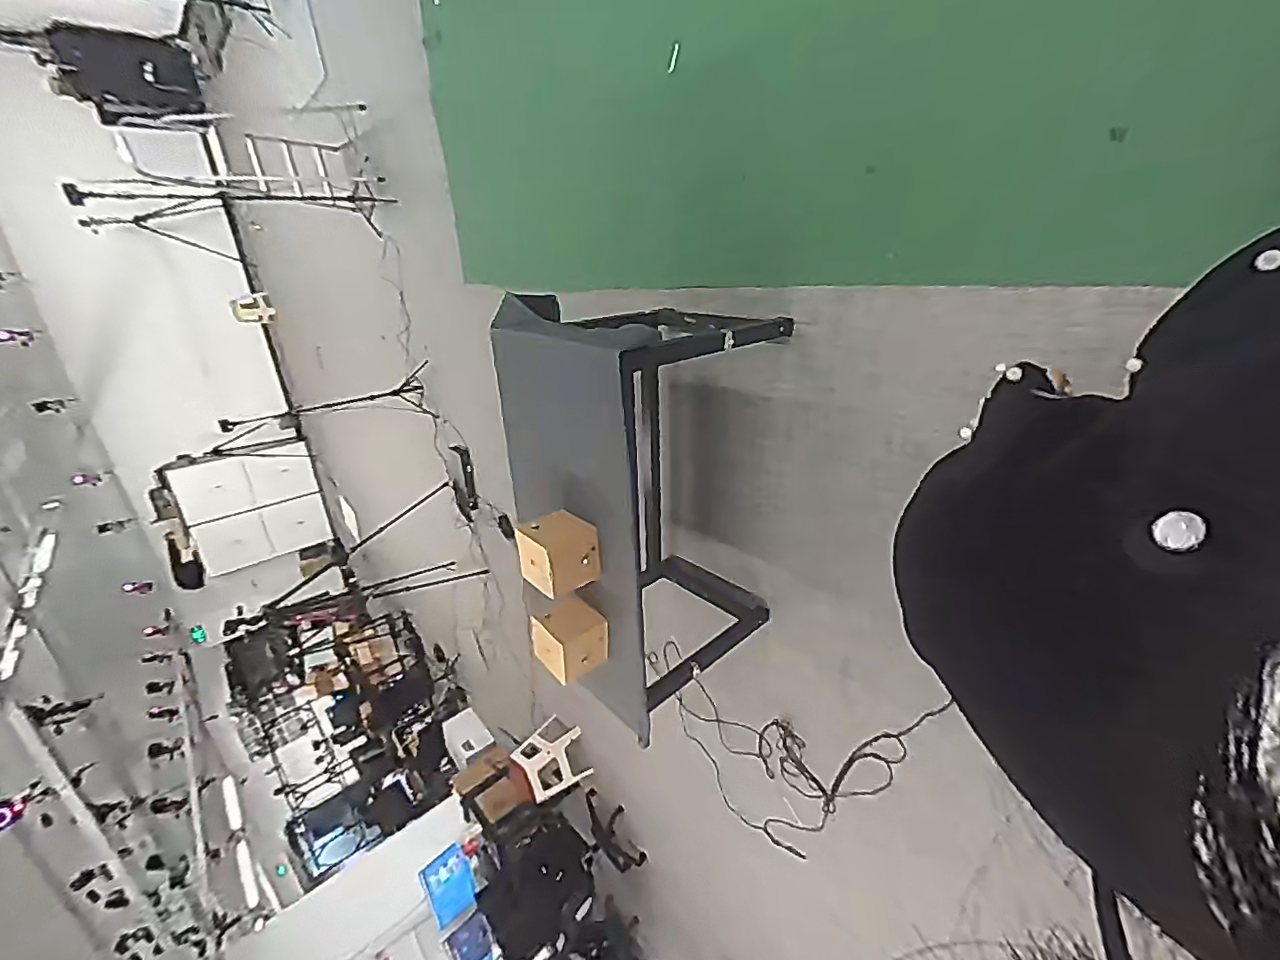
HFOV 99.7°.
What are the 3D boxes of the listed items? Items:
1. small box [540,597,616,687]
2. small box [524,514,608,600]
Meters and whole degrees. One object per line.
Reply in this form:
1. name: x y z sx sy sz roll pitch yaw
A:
1. small box: -0.187 0.493 1.677 0.179 0.176 0.168 28 128 43
2. small box: -0.211 0.213 1.564 0.179 0.176 0.168 22 124 45
